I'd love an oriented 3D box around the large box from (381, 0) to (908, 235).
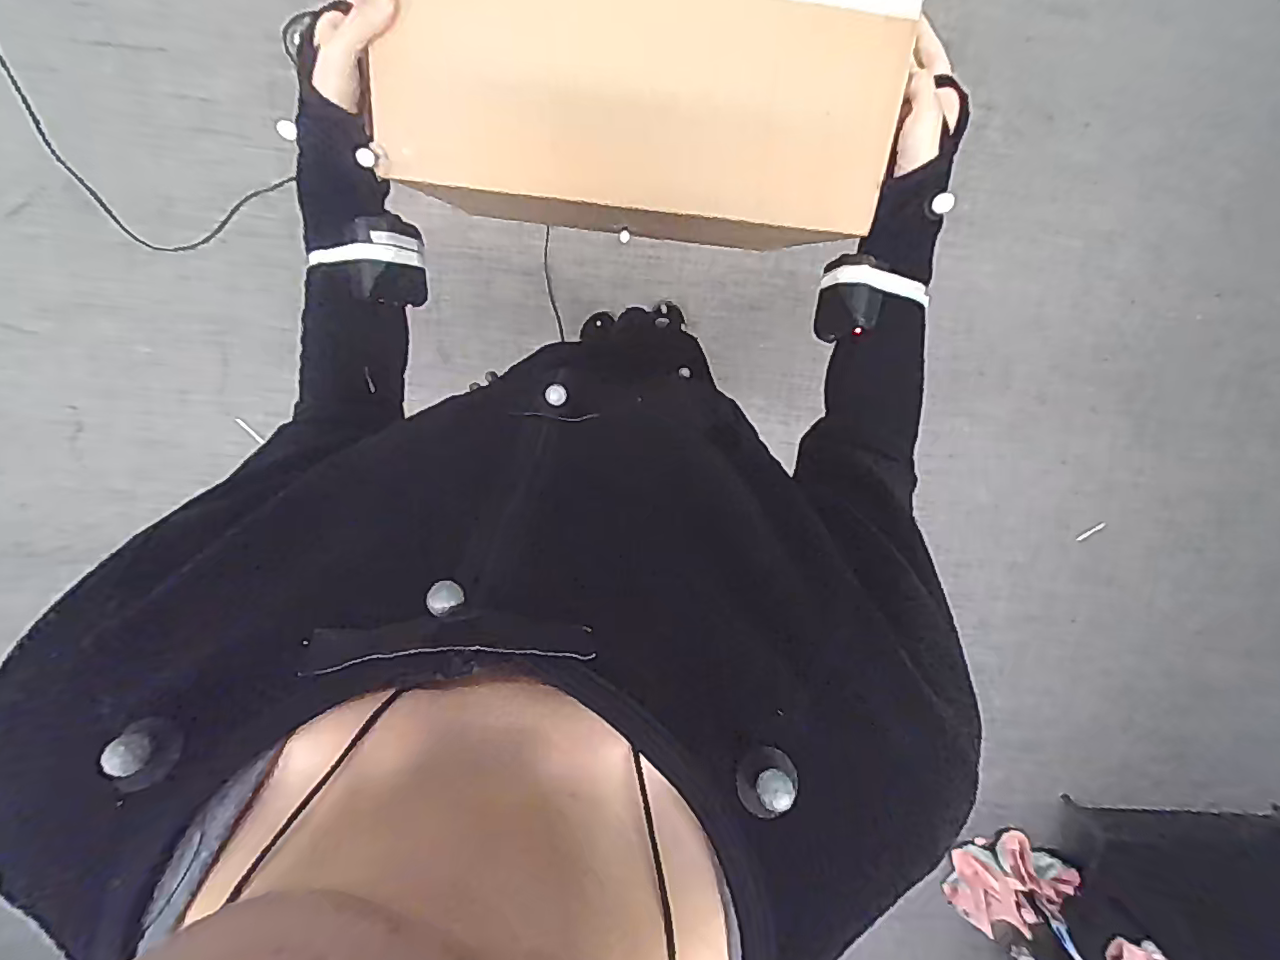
[{"bbox_3d":[0.004,-0.433,0.538,0.408,0.320,0.320,4,110,-5],"label":"large box"}]
